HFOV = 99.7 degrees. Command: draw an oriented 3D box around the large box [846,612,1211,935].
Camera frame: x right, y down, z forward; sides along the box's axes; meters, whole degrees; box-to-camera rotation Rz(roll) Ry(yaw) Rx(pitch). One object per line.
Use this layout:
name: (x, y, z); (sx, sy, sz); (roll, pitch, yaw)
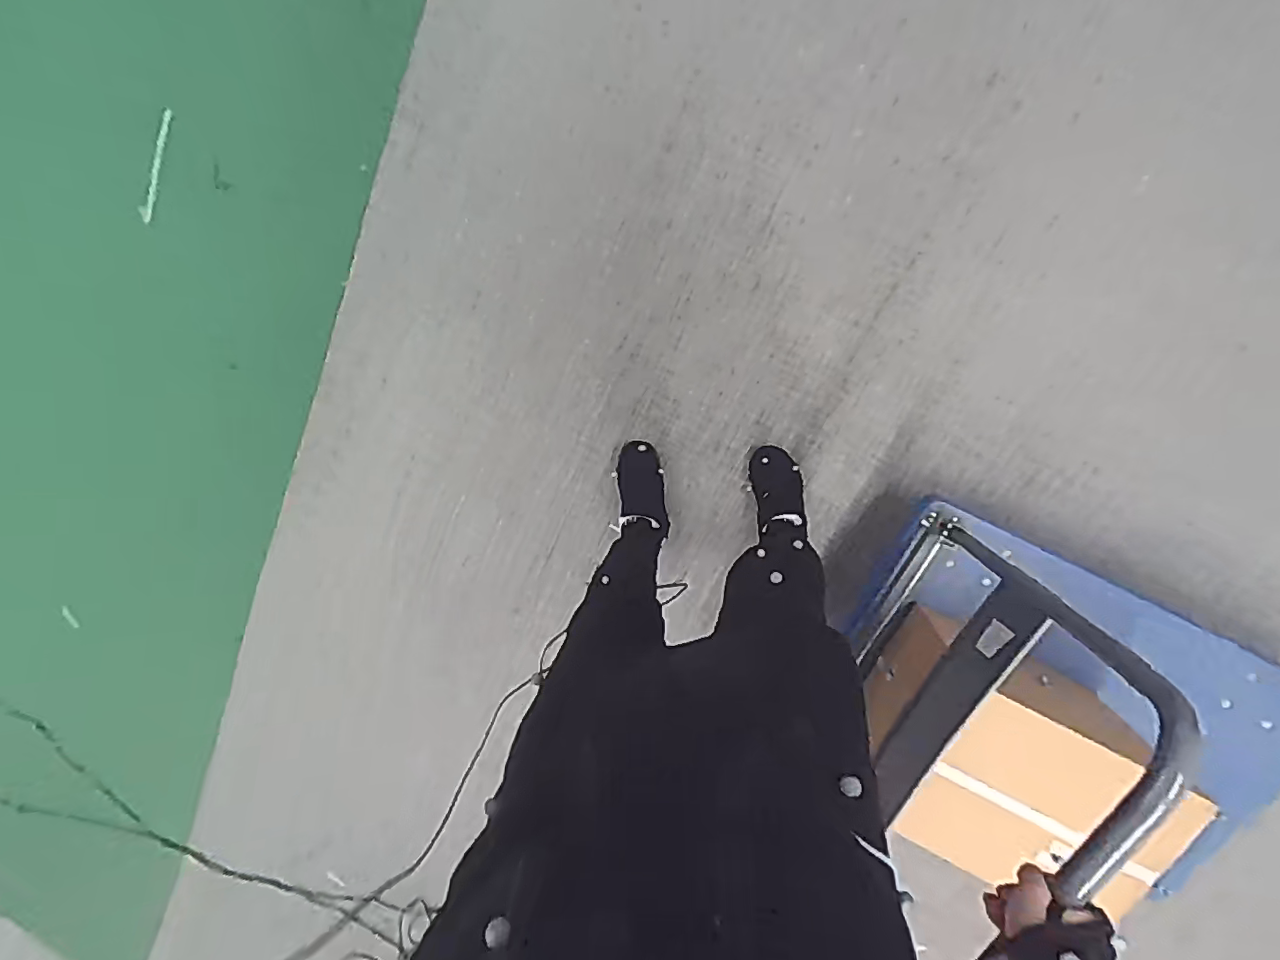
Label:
large box: (0.672, 0.519, 1.032); (0.408, 0.320, 0.320); (27, 105, 5)
